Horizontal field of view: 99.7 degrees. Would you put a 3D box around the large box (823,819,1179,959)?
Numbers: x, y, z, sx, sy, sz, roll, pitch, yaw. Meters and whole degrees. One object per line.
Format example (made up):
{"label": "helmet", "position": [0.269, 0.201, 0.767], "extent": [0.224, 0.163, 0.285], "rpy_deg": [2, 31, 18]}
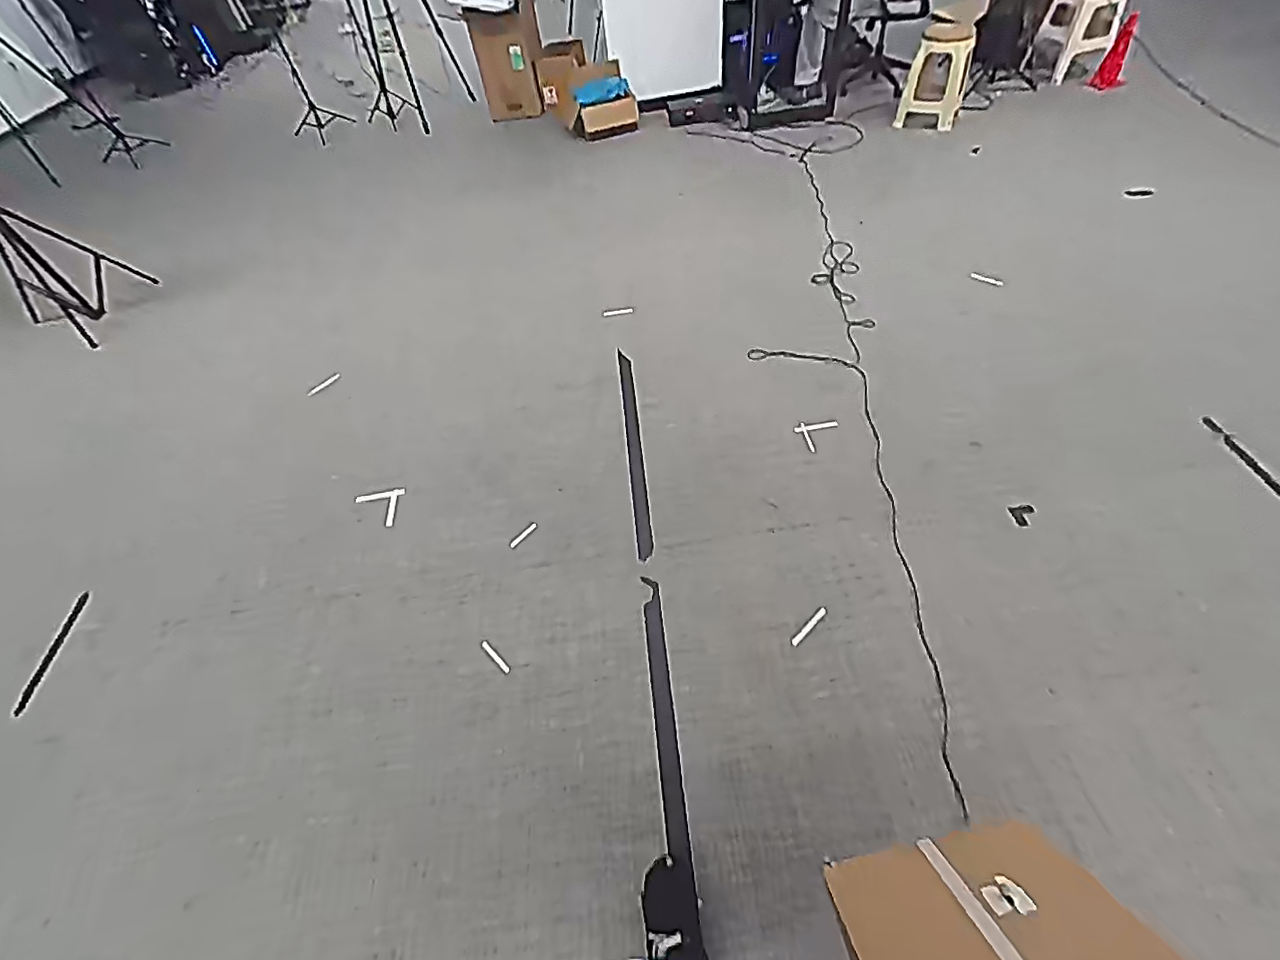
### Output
{"label": "large box", "position": [0.457, 0.686, 0.613], "extent": [0.320, 0.408, 0.320], "rpy_deg": [-15, 87, 2]}
